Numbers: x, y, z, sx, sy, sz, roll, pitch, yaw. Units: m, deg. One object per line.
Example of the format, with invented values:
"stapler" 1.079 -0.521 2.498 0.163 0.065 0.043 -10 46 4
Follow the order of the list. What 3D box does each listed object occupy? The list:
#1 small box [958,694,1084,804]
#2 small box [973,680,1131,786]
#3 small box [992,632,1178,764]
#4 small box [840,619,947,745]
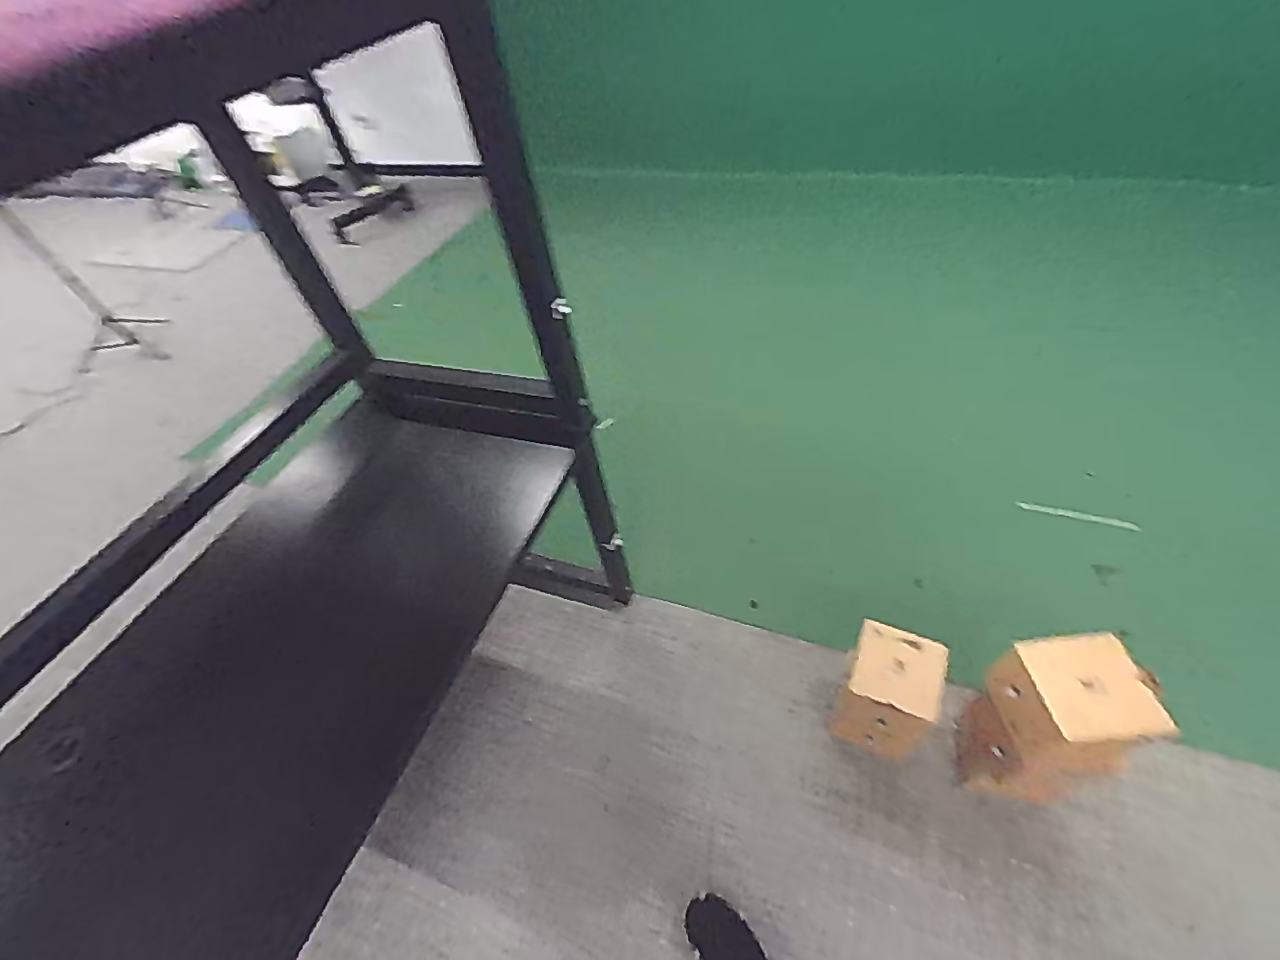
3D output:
"small box" 0.828 0.599 1.201 0.179 0.176 0.168 6 51 13
"small box" 0.796 0.501 1.075 0.179 0.176 0.168 -4 51 5
"small box" 0.763 0.390 0.960 0.179 0.176 0.168 -7 50 2
"small box" 0.541 0.440 1.168 0.168 0.176 0.179 16 54 23
